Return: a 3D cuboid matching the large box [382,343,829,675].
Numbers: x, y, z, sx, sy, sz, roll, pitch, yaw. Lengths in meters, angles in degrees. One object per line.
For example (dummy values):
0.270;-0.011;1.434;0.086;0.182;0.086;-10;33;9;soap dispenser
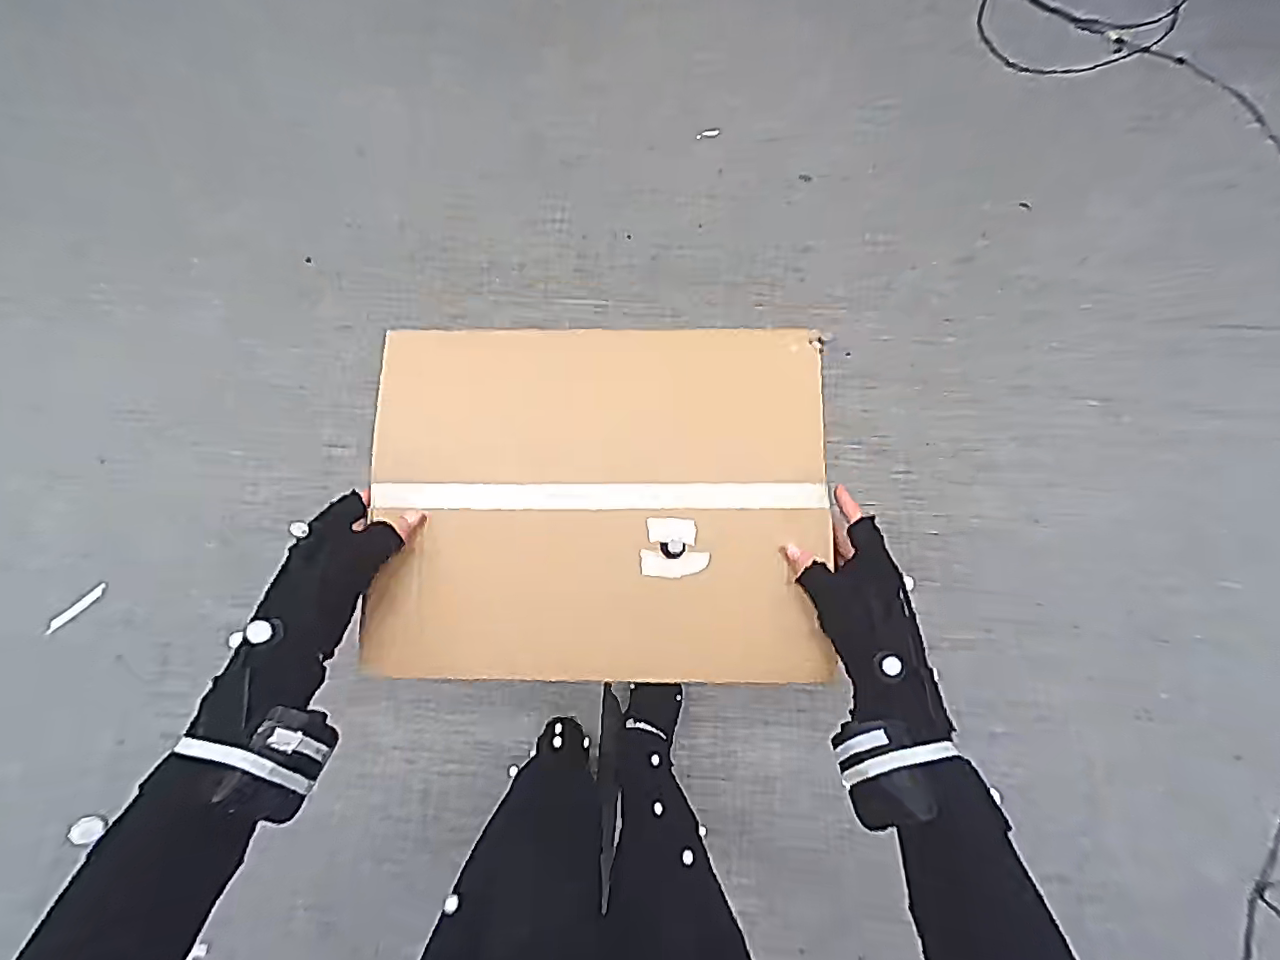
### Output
-0.032;0.045;0.648;0.408;0.320;0.320;0;81;1;large box
